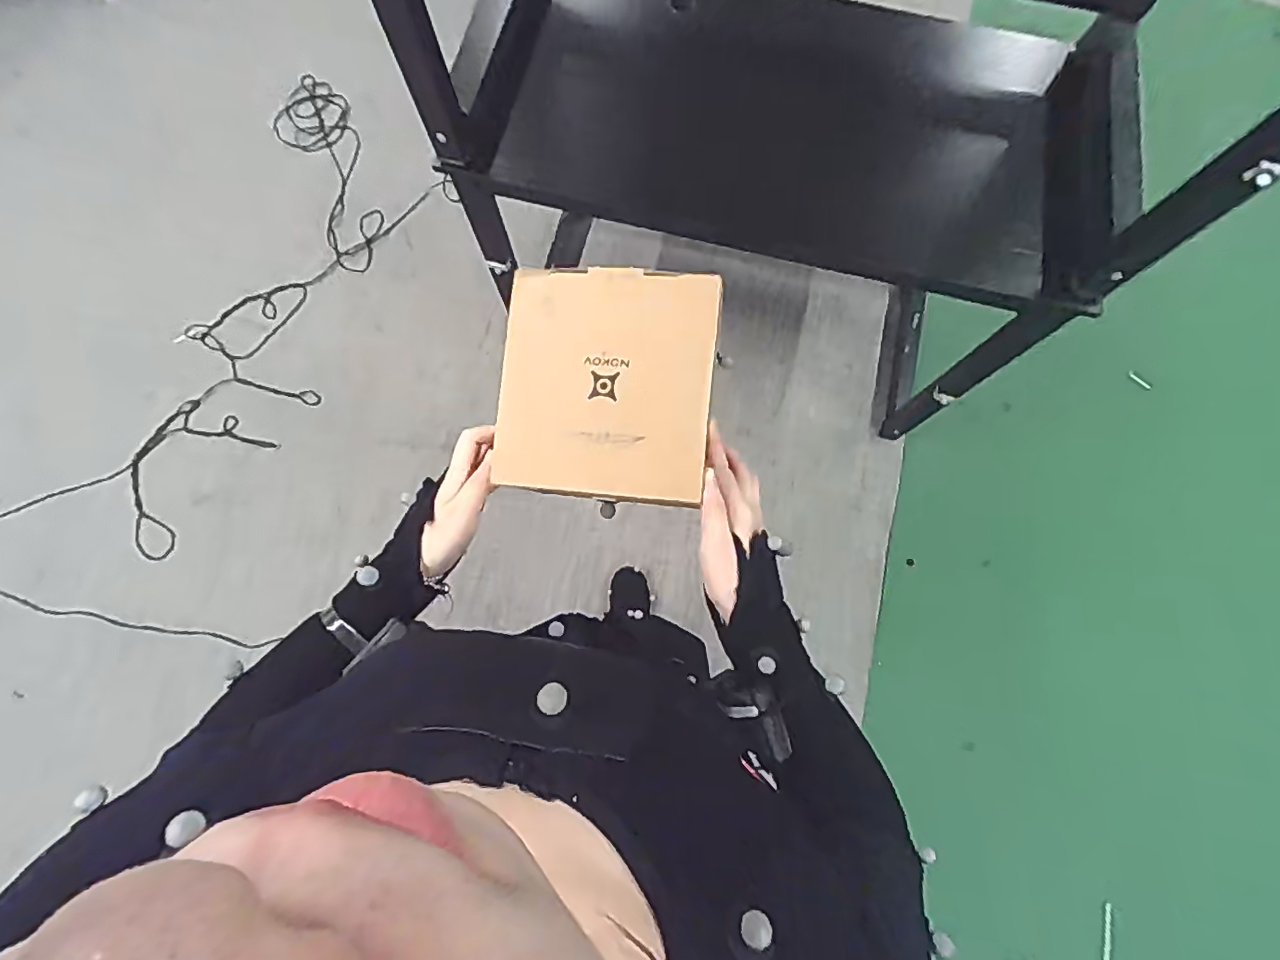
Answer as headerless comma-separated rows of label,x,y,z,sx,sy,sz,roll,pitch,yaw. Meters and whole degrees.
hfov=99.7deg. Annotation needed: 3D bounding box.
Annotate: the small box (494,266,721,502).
small box,-0.017,-0.076,0.505,0.168,0.176,0.179,6,88,8
